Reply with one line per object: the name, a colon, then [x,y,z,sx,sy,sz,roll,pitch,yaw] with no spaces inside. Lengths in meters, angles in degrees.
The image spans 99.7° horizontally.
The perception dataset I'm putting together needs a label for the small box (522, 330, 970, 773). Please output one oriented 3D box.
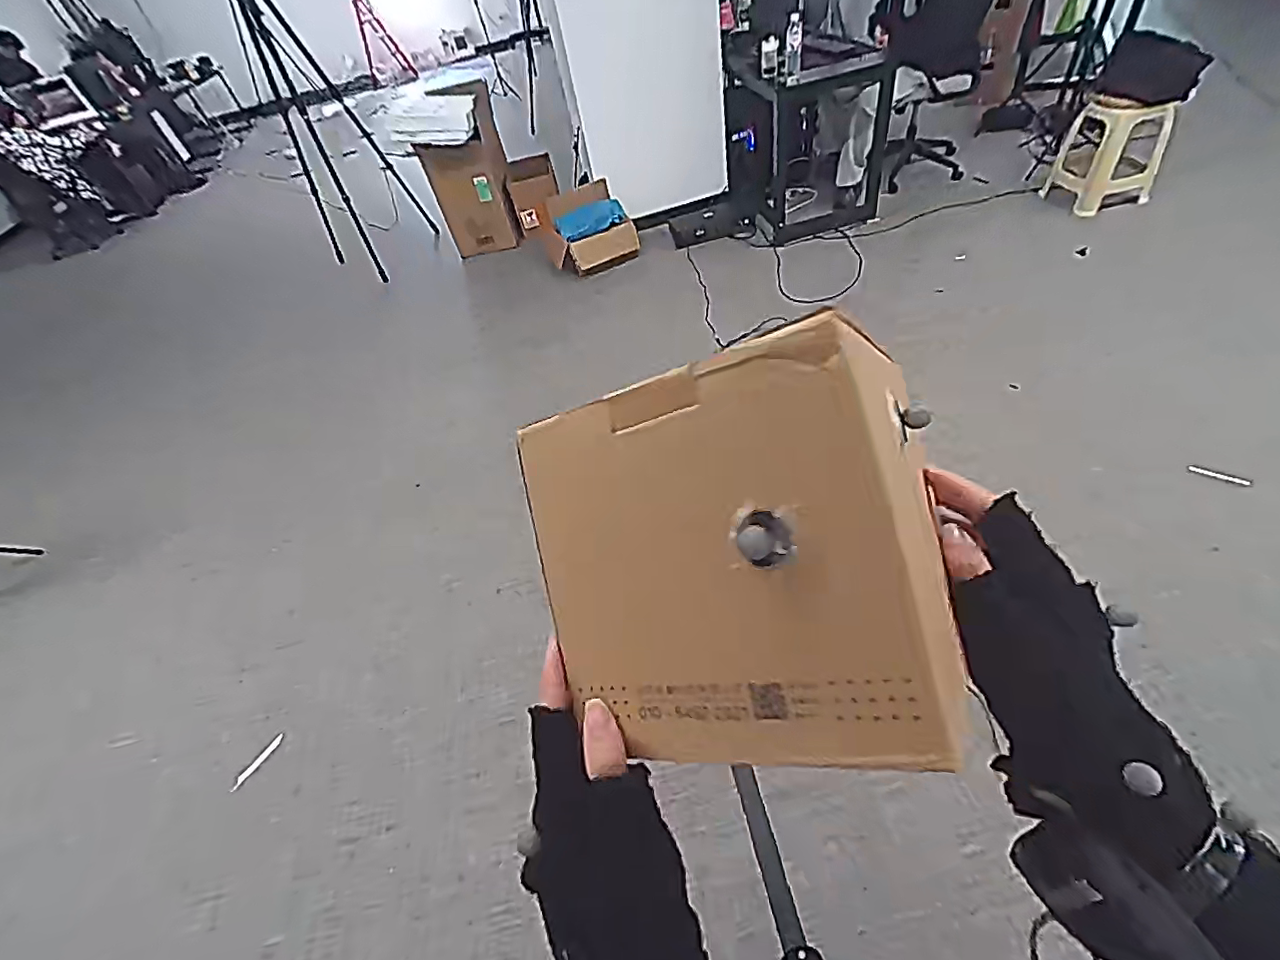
small box: [0.067,0.038,0.303,0.168,0.179,0.176,-16,85,35]
